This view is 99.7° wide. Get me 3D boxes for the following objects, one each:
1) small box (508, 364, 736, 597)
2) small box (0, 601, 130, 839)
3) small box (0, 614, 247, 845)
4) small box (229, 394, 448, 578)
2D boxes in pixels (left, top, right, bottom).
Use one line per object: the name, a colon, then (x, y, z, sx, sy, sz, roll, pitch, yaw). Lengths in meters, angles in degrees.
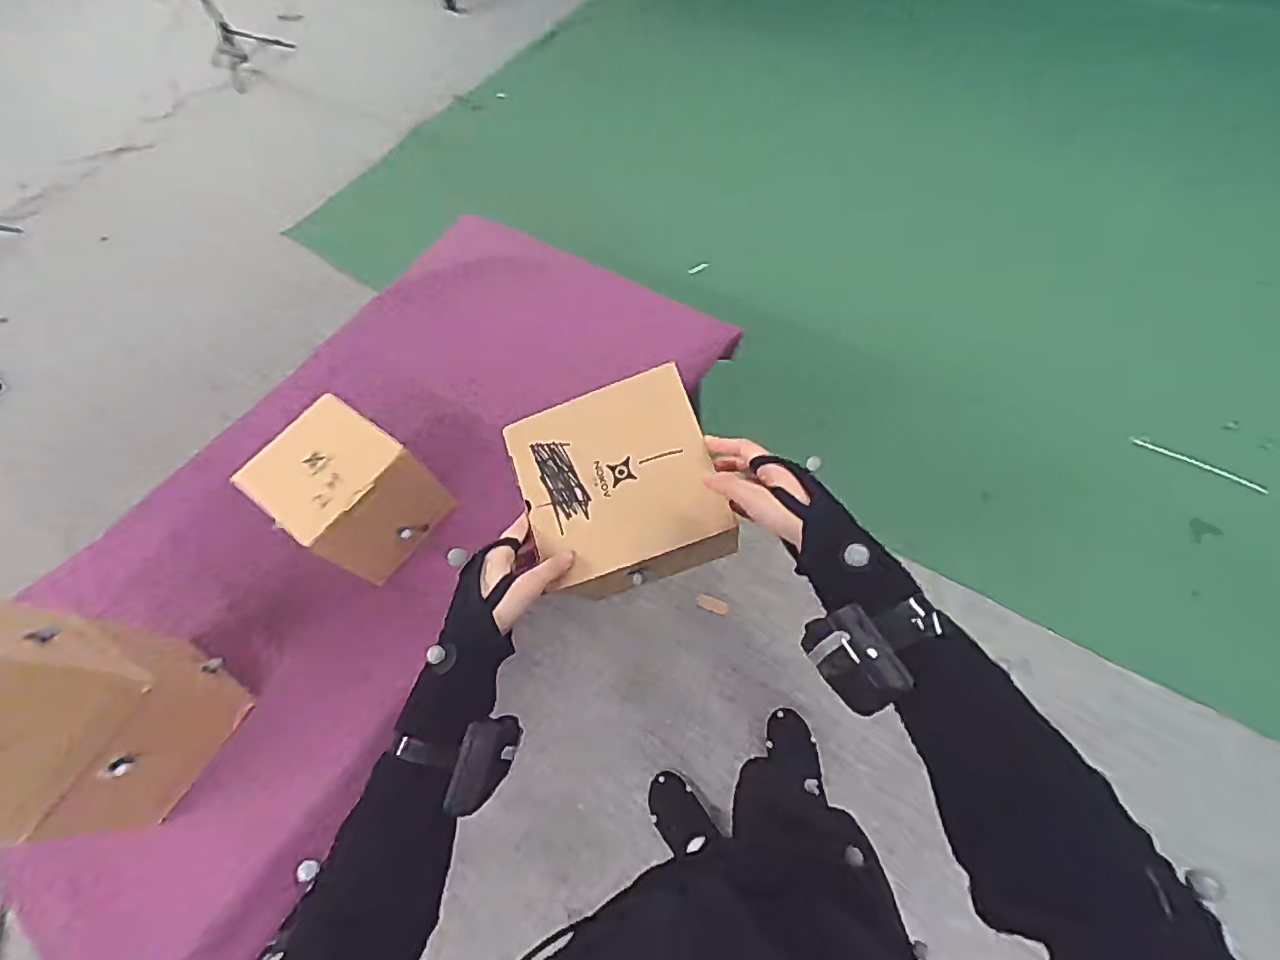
small box: (-0.008, 0.015, 0.554, 0.179, 0.176, 0.168, -19, 72, 4)
small box: (-0.650, 0.218, 0.510, 0.168, 0.176, 0.179, 24, 68, 16)
small box: (-0.639, 0.295, 0.652, 0.168, 0.176, 0.179, 25, 68, 18)
small box: (-0.415, 0.016, 0.771, 0.179, 0.176, 0.168, 31, 71, 21)
